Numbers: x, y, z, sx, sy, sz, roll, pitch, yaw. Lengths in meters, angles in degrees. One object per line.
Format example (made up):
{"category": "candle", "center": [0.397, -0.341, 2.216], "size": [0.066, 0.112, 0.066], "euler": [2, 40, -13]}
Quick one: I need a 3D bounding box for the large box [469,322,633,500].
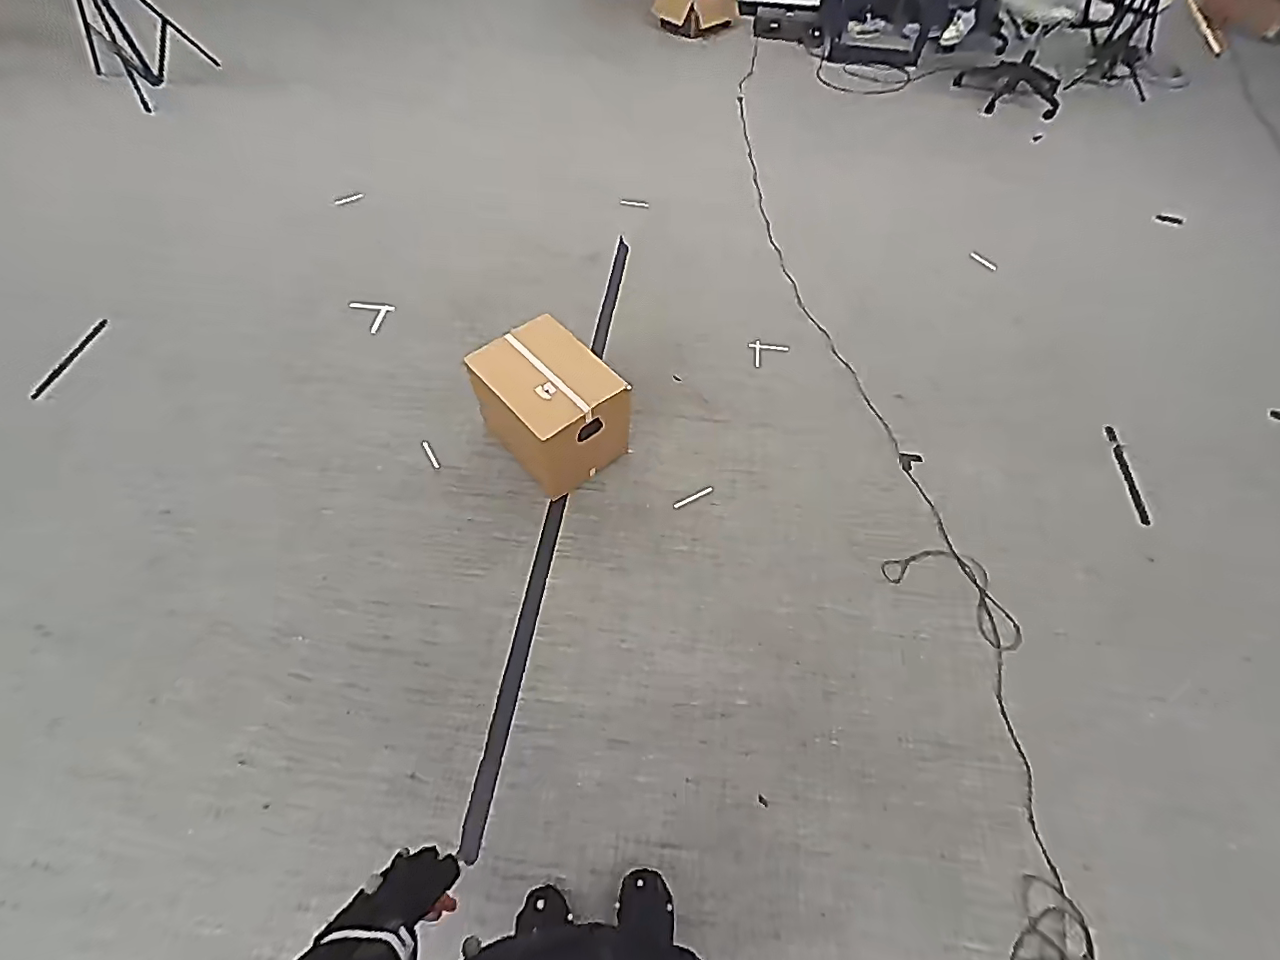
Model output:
{"category": "large box", "center": [-0.273, -0.218, 1.704], "size": [0.320, 0.320, 0.408], "euler": [-36, 66, -23]}
